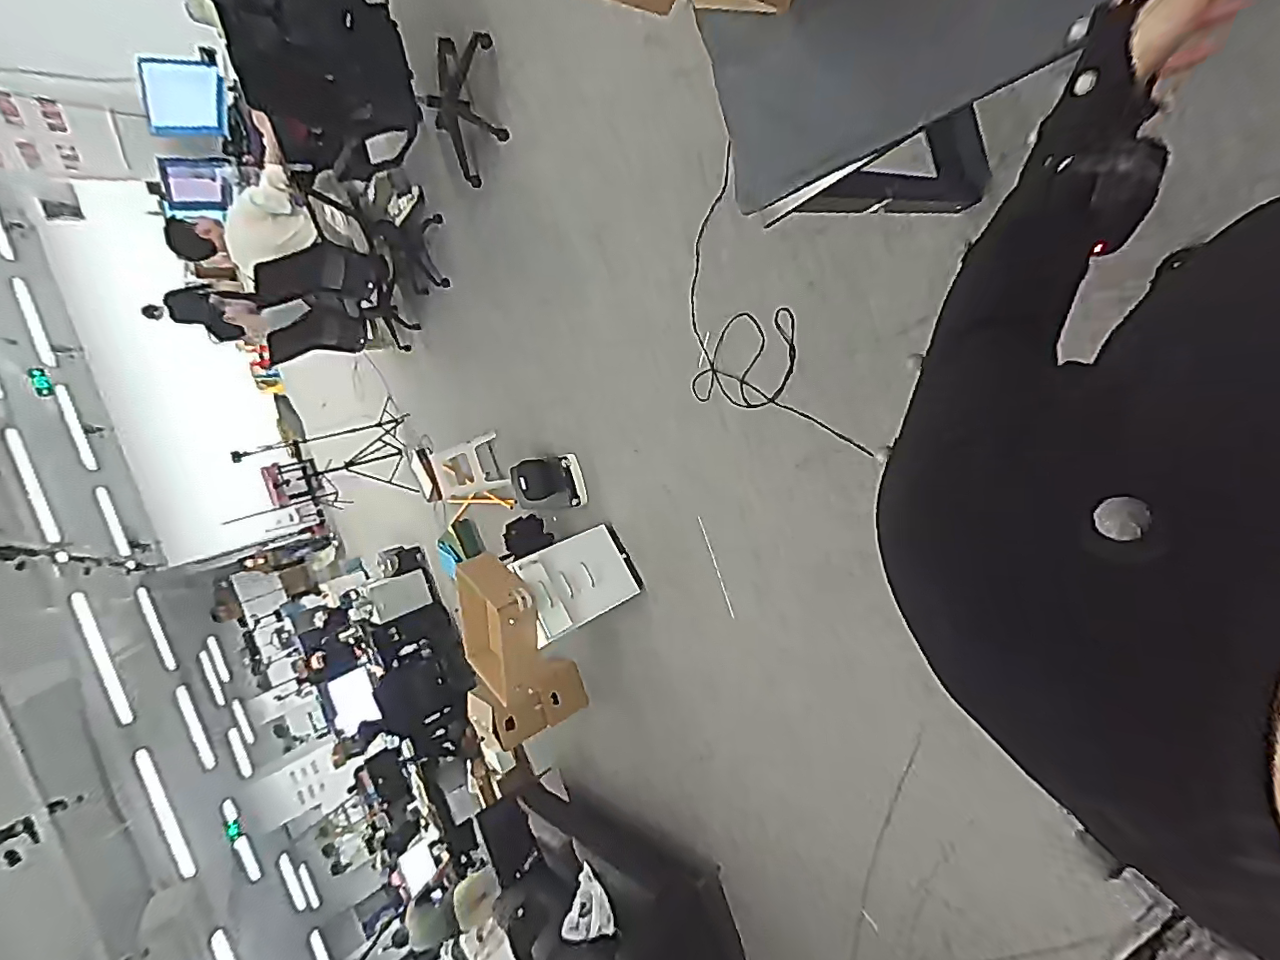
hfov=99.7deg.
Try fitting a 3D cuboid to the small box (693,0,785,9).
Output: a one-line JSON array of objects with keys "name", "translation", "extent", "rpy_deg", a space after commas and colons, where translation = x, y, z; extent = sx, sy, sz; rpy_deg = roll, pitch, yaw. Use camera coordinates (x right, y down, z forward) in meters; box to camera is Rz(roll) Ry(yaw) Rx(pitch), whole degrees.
[{"name": "small box", "translation": [0.102, -0.730, 0.692], "extent": [0.179, 0.176, 0.168], "rpy_deg": [39, 134, 33]}]
